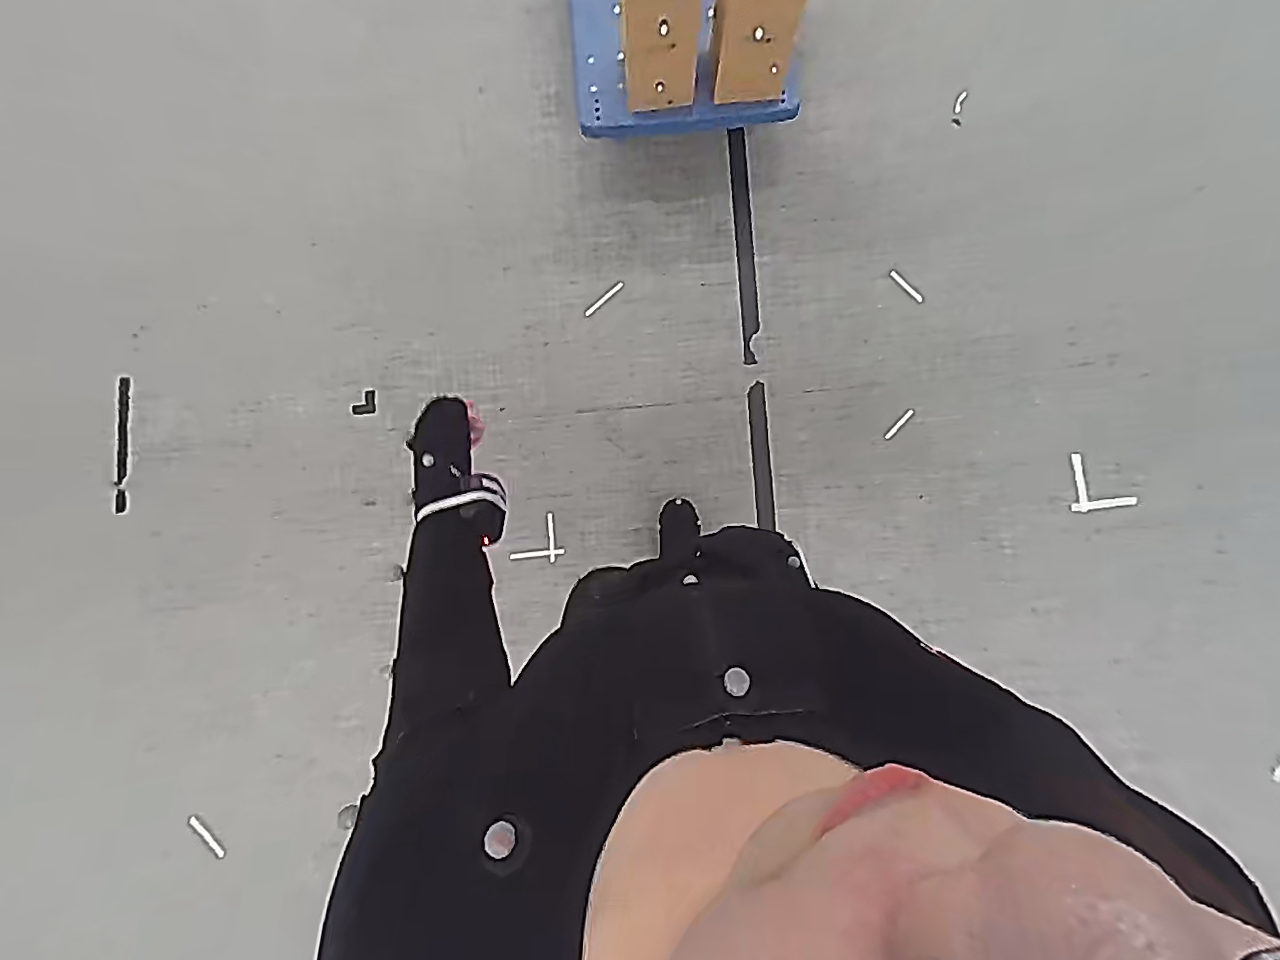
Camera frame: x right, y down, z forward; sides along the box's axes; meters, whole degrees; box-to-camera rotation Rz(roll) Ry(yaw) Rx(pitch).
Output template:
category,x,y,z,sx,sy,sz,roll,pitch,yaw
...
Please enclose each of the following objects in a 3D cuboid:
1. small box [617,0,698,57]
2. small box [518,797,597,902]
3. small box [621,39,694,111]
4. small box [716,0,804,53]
category,x,y,z,sx,sy,sz,roll,pitch,yaw
small box,0.034,-1.054,1.162,0.168,0.176,0.179,-7,86,0
small box,-0.203,0.933,1.378,0.179,0.176,0.168,-2,86,3
small box,0.040,-1.043,1.327,0.168,0.176,0.179,-6,85,0
small box,0.255,-1.066,1.156,0.168,0.176,0.179,-2,86,1
